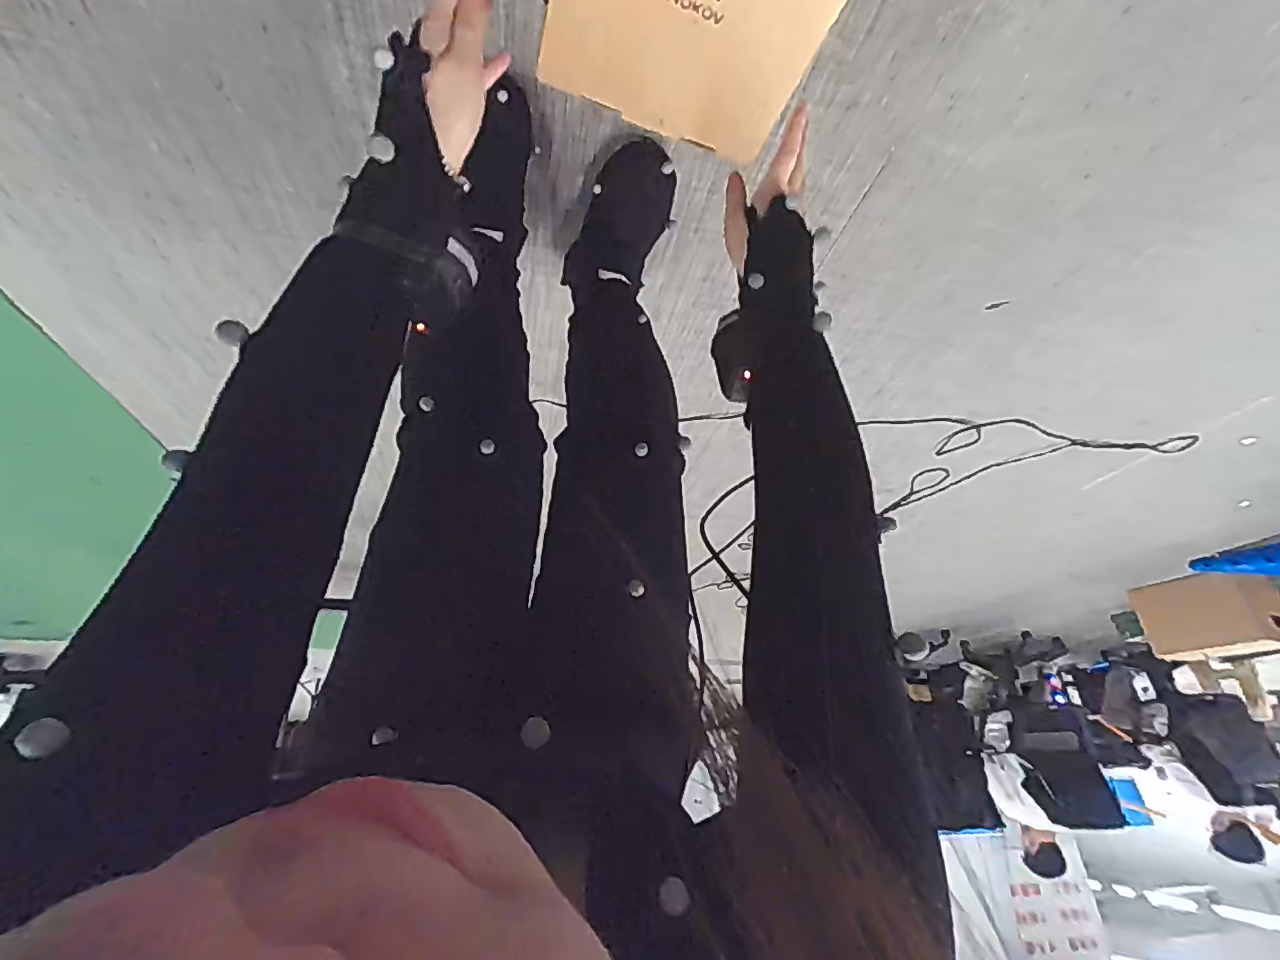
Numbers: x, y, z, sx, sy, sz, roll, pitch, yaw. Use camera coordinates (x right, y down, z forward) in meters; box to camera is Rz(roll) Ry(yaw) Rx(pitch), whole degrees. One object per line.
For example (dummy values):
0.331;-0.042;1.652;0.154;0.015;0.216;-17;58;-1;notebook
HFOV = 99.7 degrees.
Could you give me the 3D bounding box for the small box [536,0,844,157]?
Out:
0.036;-0.360;0.340;0.168;0.176;0.179;9;151;-19;small box
